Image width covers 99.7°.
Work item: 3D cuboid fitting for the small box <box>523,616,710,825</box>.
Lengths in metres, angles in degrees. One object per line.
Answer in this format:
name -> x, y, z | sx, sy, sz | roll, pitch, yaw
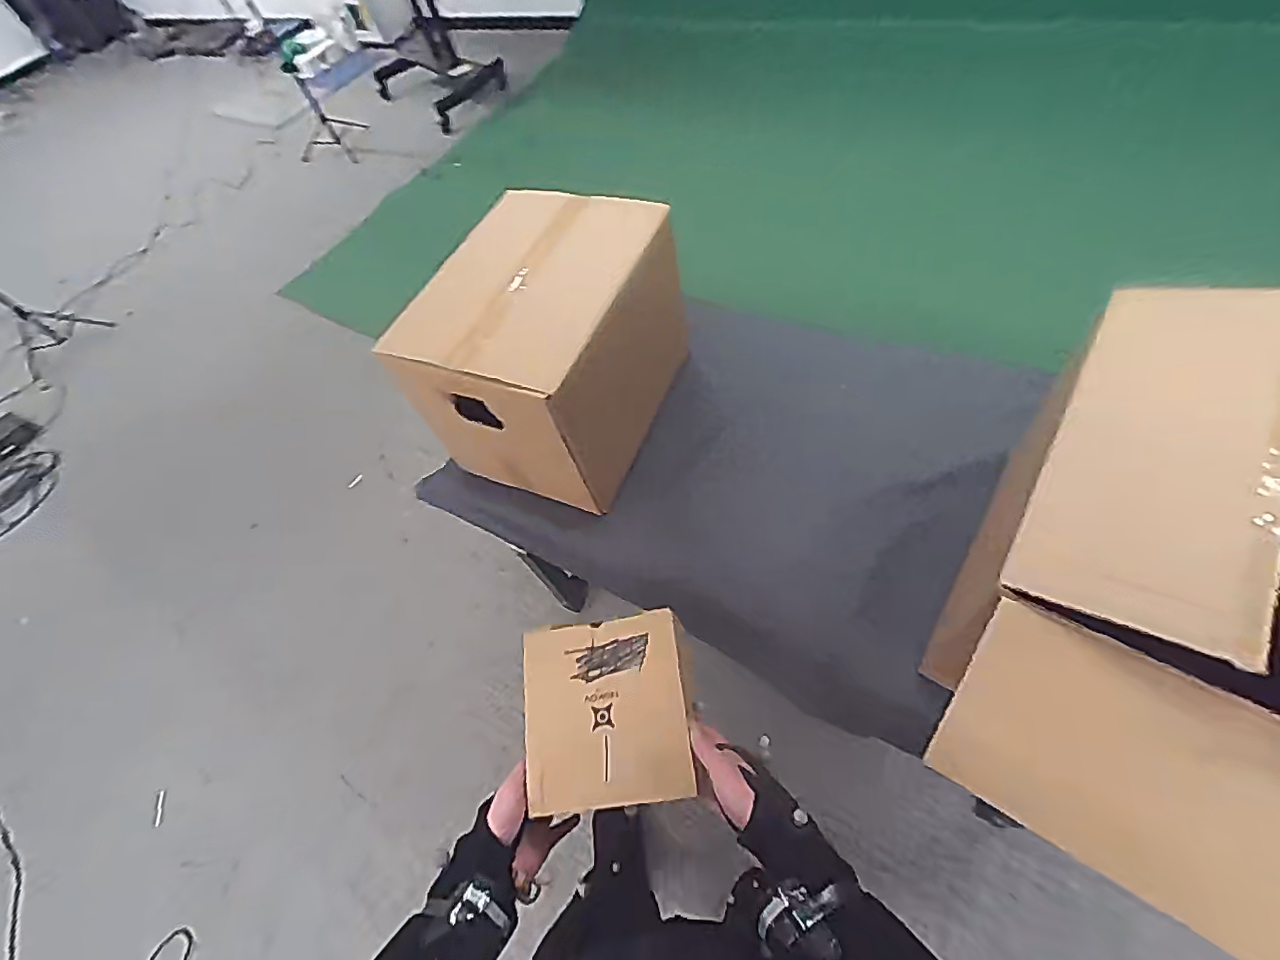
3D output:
small box -> -0.020, 0.259, 0.593 | 0.168, 0.176, 0.179 | -10, 65, 8
